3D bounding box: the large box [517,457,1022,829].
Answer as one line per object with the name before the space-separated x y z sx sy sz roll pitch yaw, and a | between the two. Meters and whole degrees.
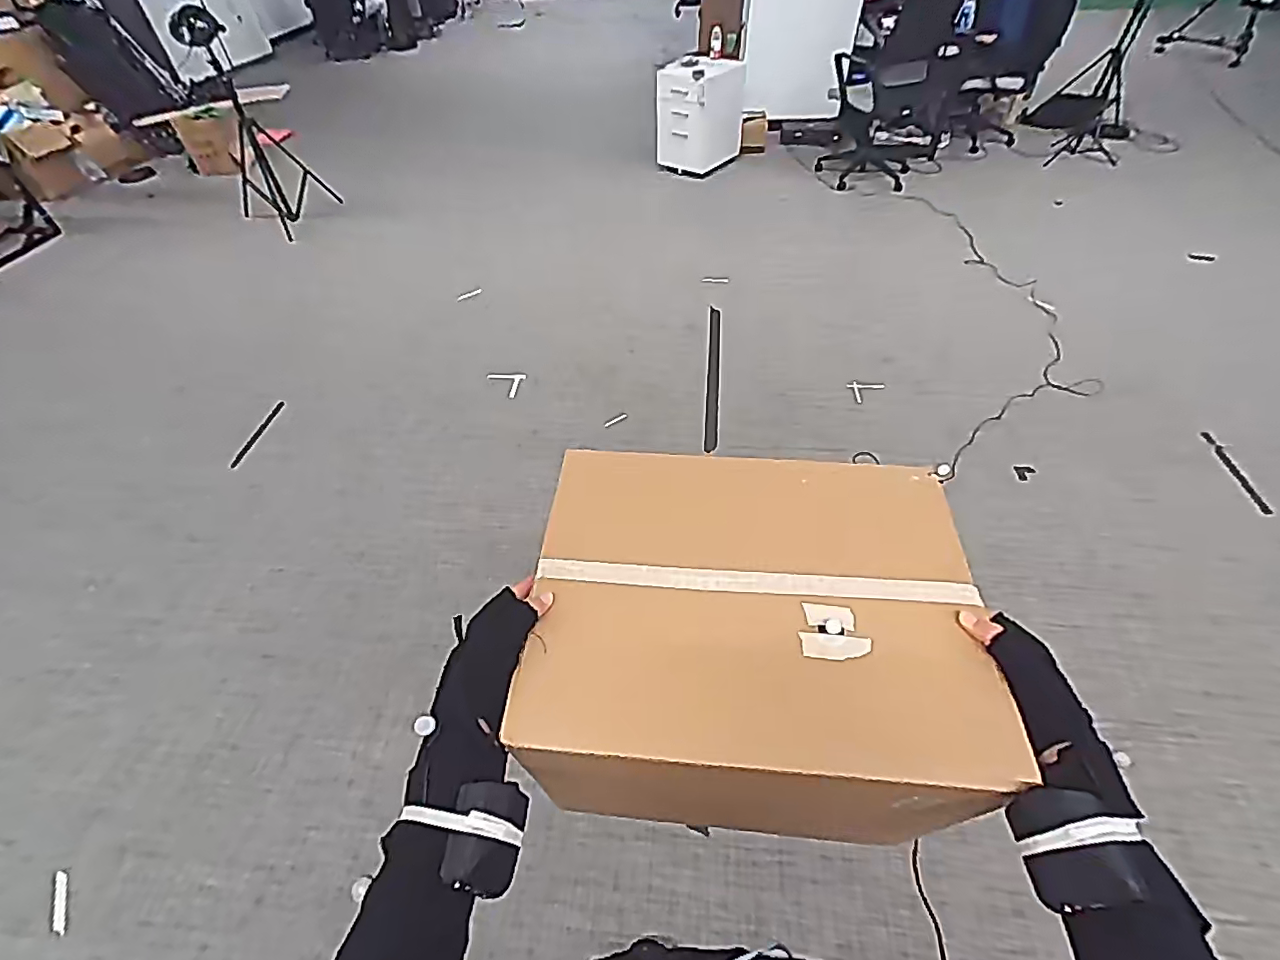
large box | 0.109 0.193 0.631 0.408 0.320 0.320 3 52 4
